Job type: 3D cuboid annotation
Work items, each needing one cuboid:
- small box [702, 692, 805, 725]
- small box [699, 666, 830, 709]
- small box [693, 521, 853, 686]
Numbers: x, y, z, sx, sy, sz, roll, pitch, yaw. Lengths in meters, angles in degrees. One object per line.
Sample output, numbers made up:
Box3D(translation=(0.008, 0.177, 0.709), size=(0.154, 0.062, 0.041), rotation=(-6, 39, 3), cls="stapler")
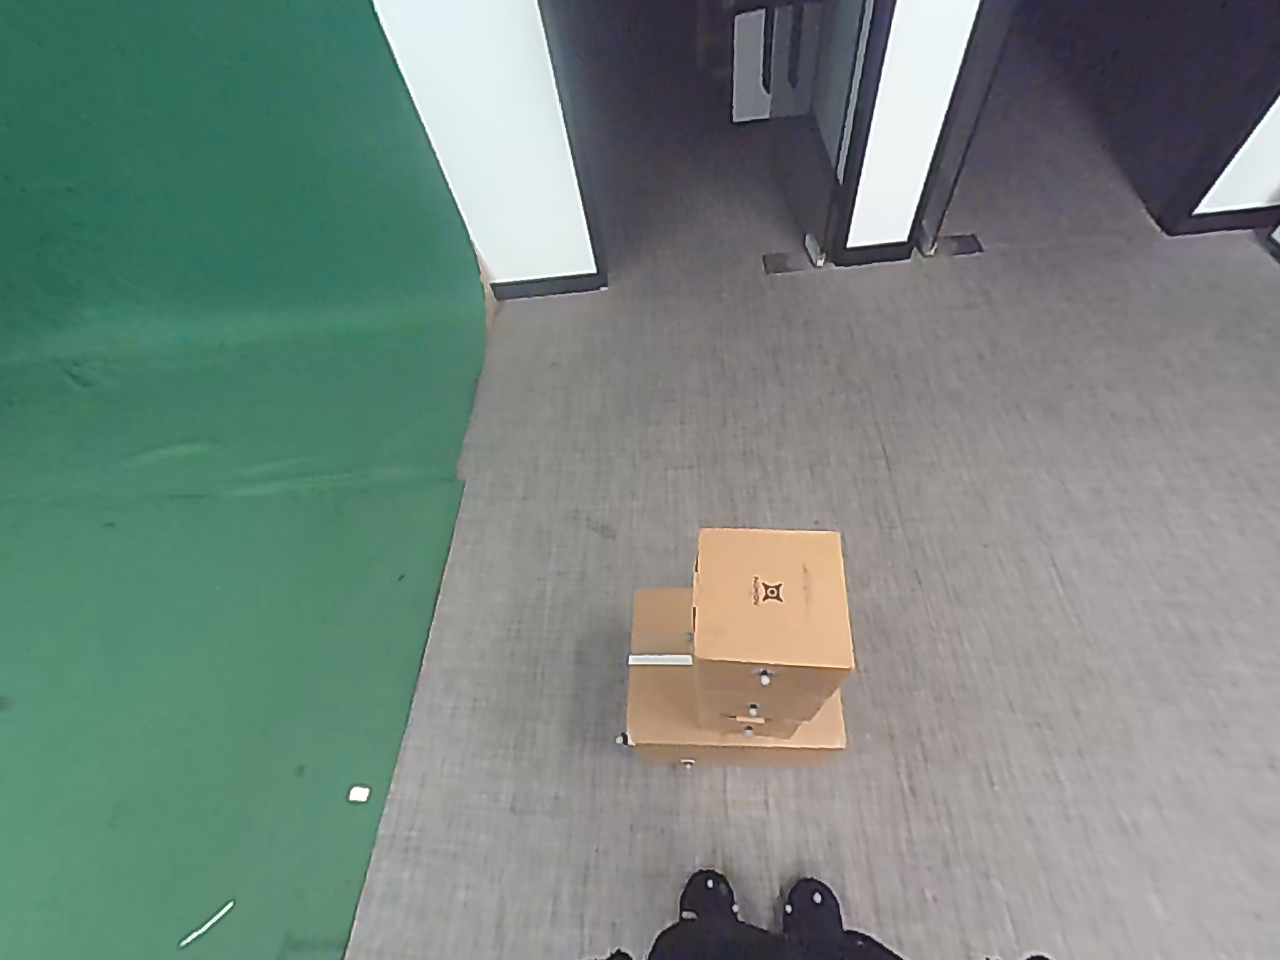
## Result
Box3D(translation=(0.203, 0.336, 0.976), size=(0.168, 0.176, 0.179), rotation=(0, 59, 10), cls="small box")
Box3D(translation=(0.185, 0.251, 0.836), size=(0.179, 0.176, 0.168), rotation=(-1, 58, 10), cls="small box")
Box3D(translation=(0.163, 0.164, 0.701), size=(0.179, 0.176, 0.168), rotation=(0, 59, 9), cls="small box")
